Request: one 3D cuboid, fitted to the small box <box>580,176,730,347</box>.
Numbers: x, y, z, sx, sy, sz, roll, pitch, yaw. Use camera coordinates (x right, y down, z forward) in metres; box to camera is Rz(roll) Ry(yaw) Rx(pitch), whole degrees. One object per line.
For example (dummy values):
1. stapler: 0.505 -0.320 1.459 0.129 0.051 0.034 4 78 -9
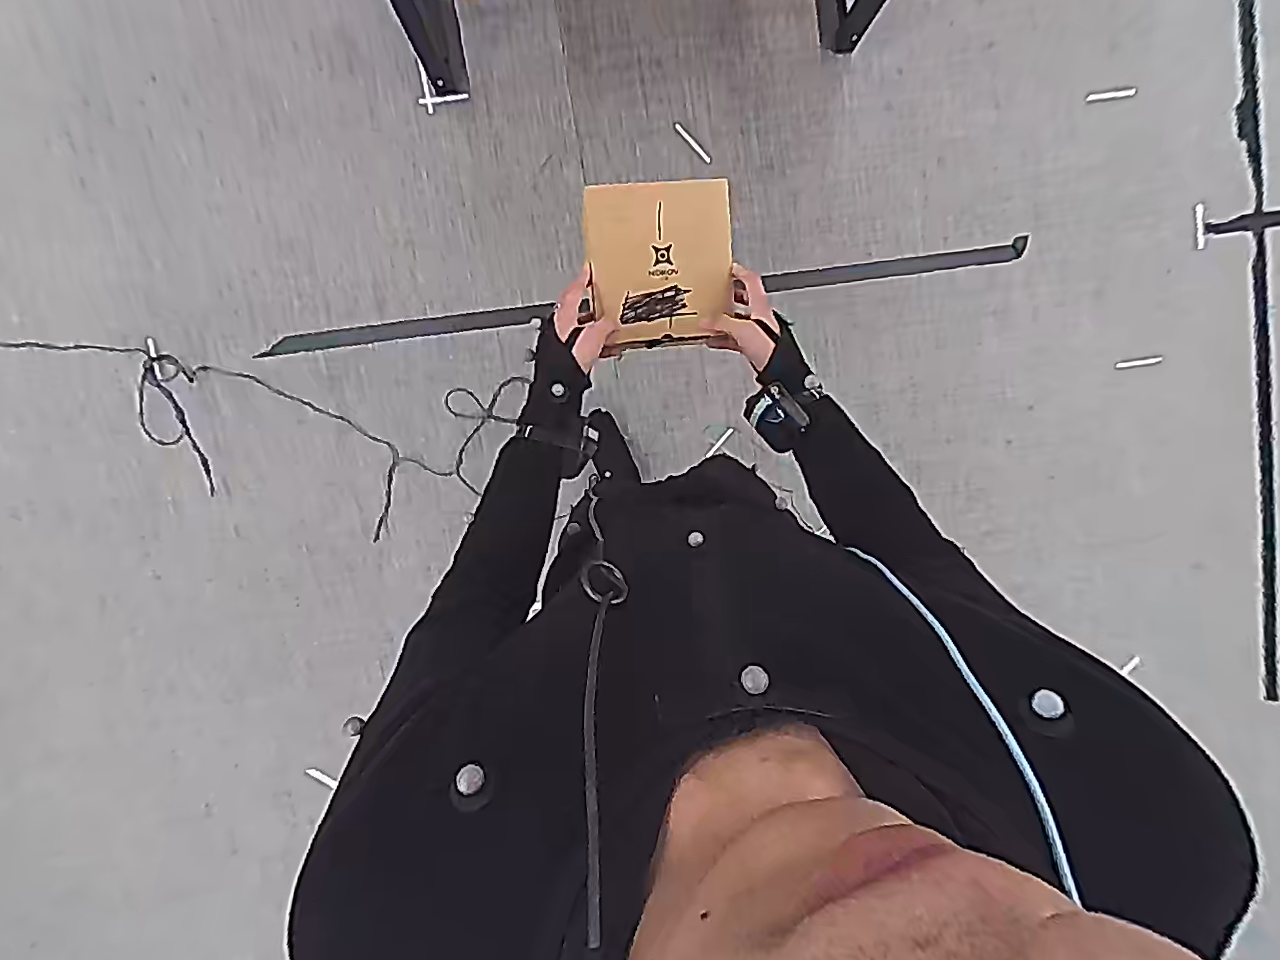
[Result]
1. small box: 0.013 -0.264 0.692 0.168 0.176 0.179 -5 101 -5
